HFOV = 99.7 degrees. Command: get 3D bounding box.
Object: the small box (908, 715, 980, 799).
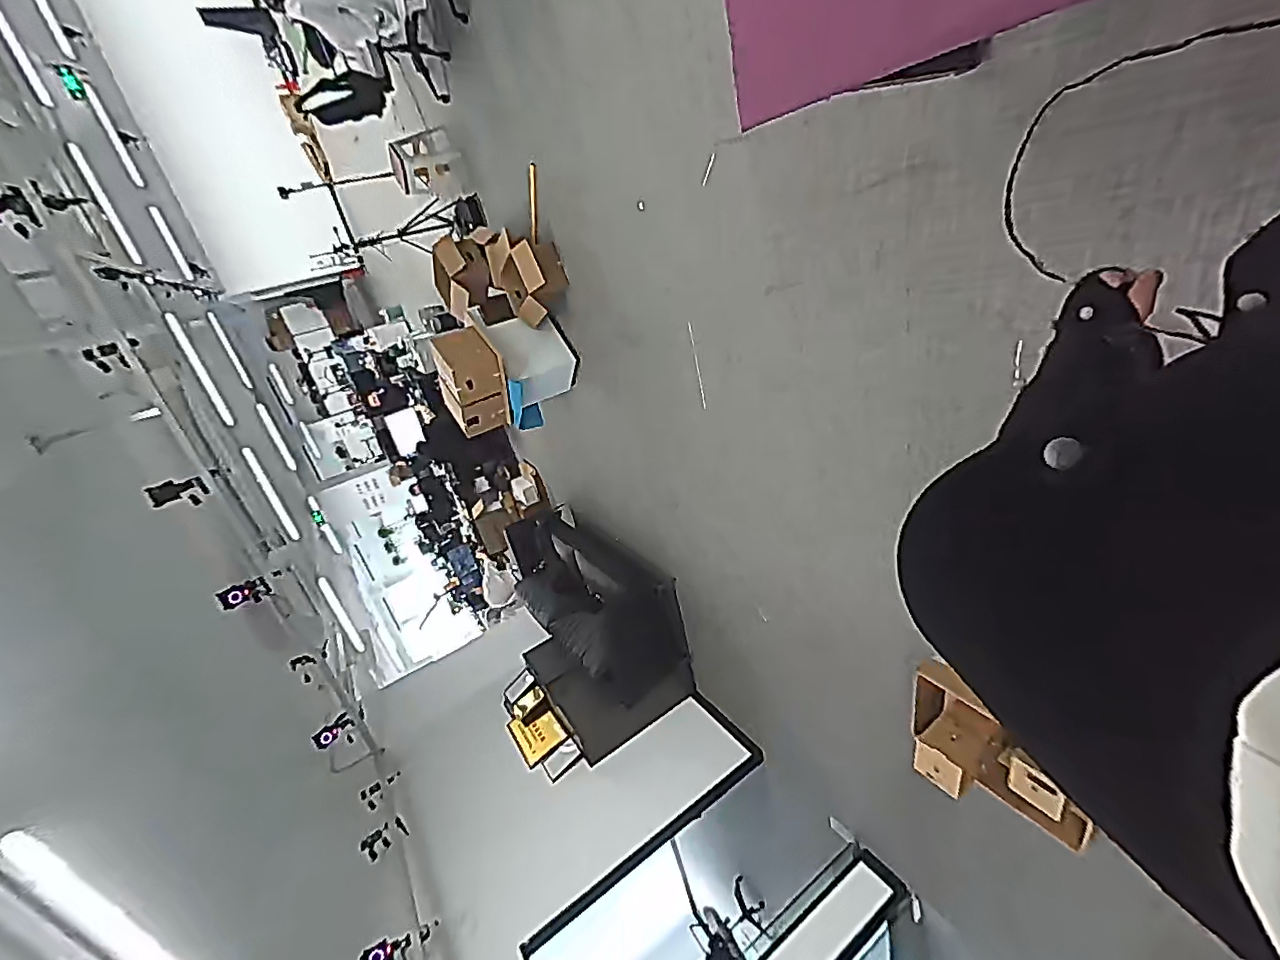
[{"bbox_3d":[1.117,1.009,1.985,0.168,0.176,0.179,29,136,50],"label":"small box"}]
